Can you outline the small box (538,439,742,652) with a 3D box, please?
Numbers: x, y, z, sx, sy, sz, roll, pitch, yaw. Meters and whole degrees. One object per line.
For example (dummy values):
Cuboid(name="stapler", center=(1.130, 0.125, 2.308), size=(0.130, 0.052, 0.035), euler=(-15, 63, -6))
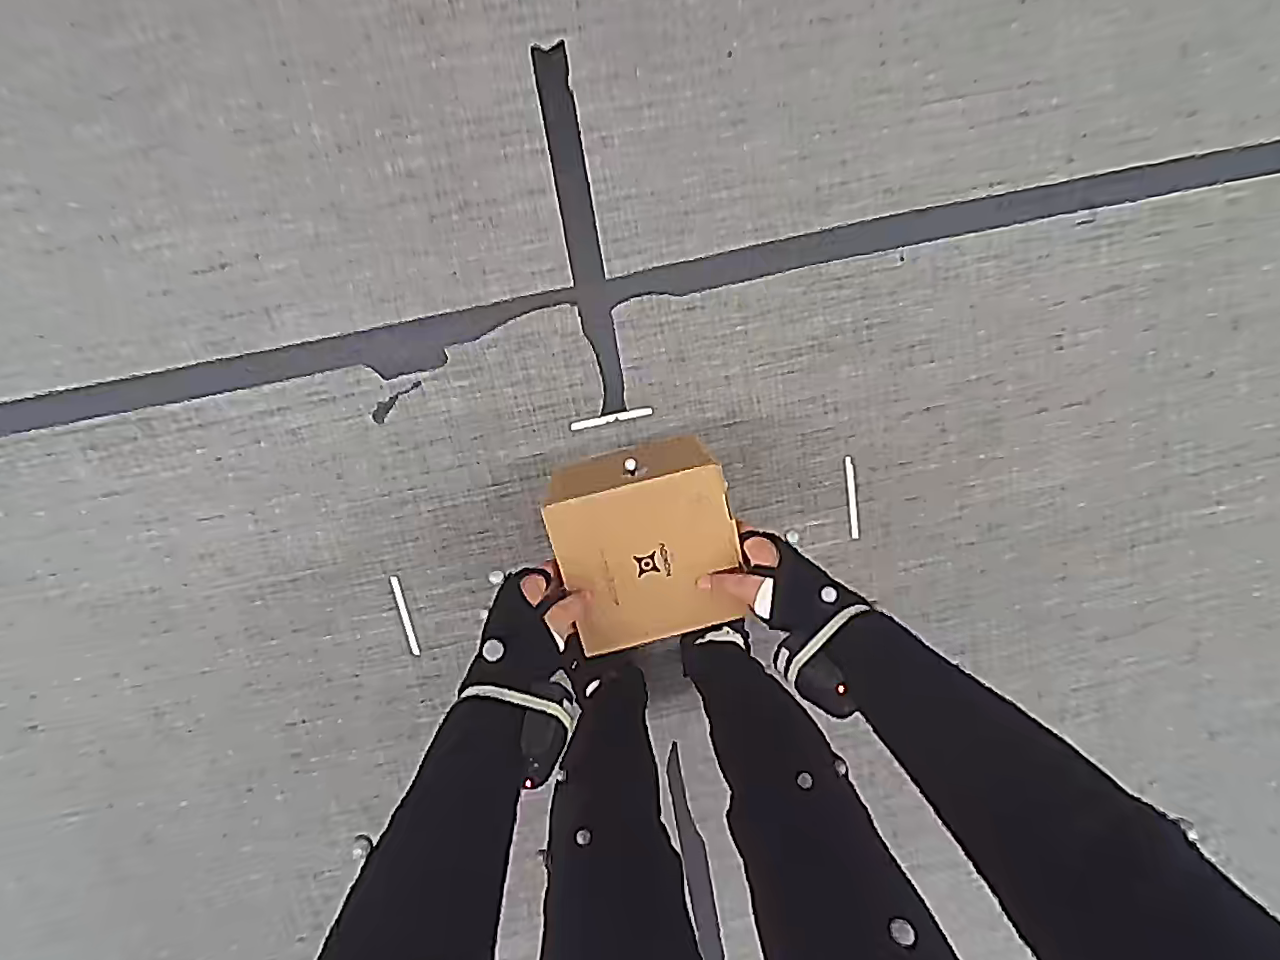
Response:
Cuboid(name="small box", center=(-0.002, 0.060, 0.611), size=(0.179, 0.176, 0.168), euler=(-15, 104, 0))
